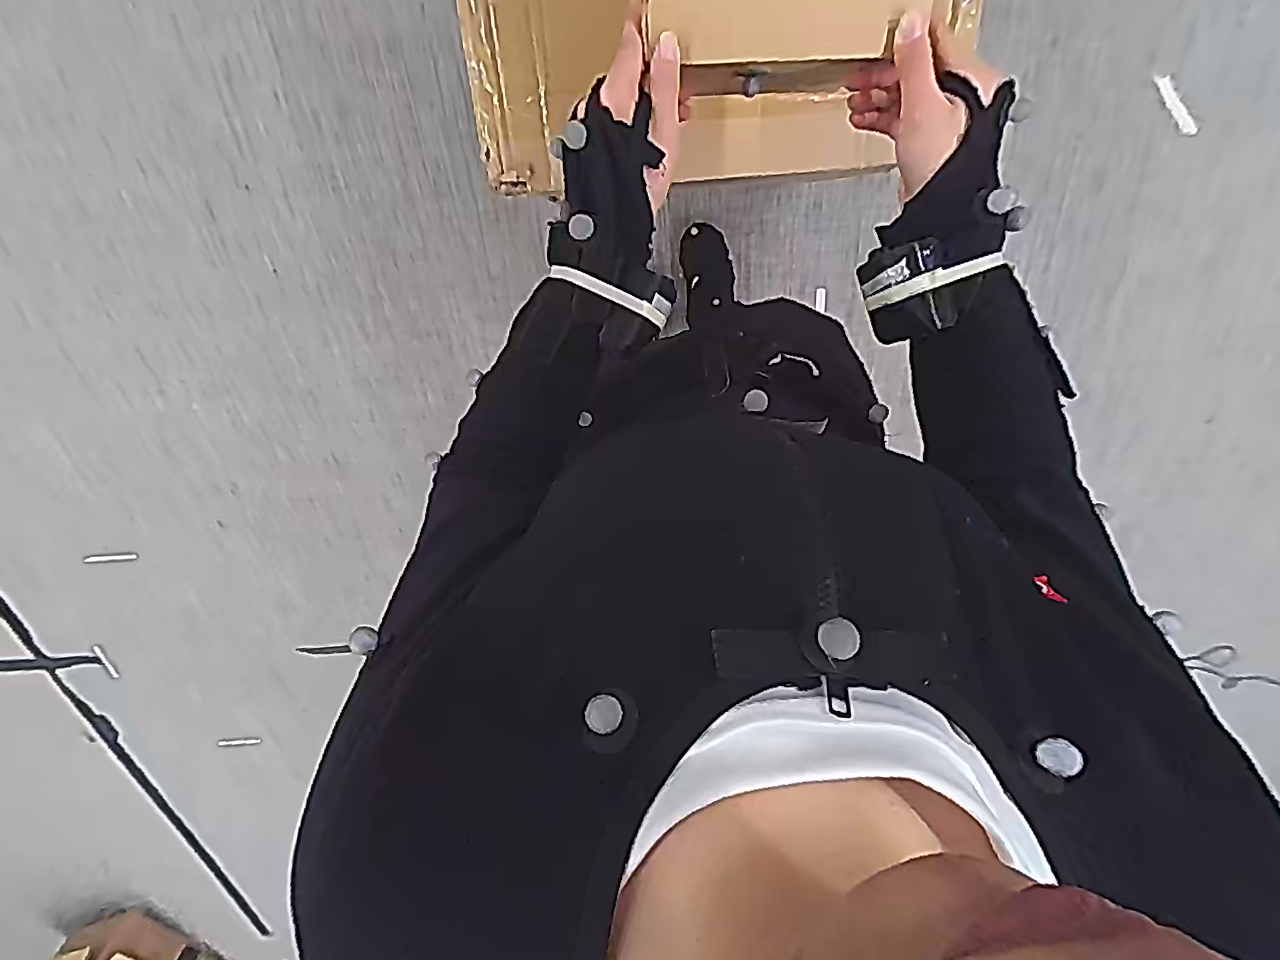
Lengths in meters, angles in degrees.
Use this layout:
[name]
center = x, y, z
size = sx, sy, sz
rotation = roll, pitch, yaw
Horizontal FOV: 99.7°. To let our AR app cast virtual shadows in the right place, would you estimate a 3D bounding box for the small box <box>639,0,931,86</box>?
[small box]
center = 0.086, -0.380, 0.365
size = 0.179, 0.176, 0.168
rotation = -2, 120, 0
